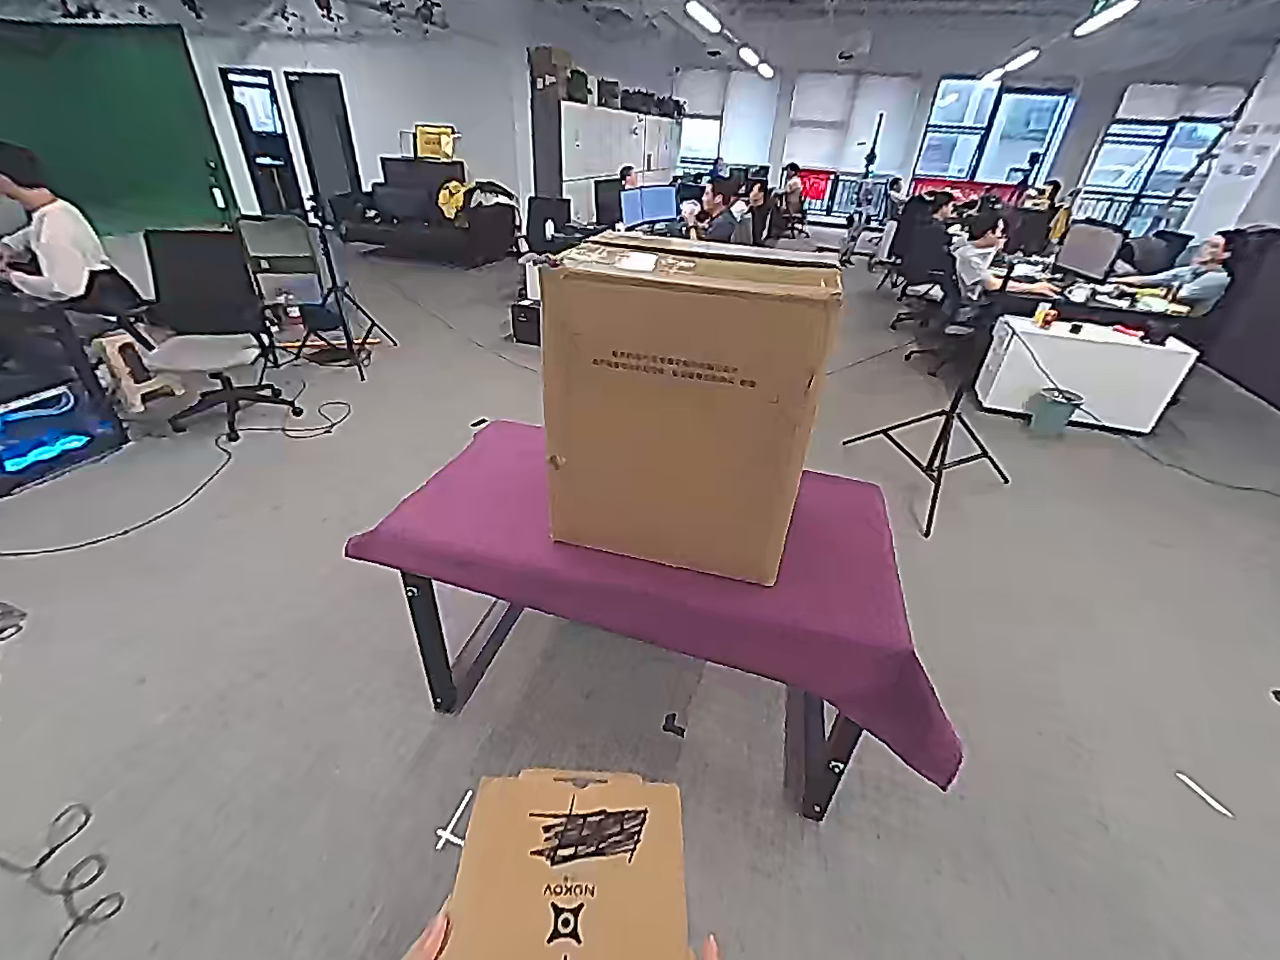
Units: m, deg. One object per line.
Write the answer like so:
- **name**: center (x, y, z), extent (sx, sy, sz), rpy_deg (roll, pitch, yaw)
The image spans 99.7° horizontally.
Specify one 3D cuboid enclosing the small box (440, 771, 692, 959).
- **small box**: center (-0.052, 0.360, 0.421), extent (0.168, 0.176, 0.179), rpy_deg (3, 34, -2)
